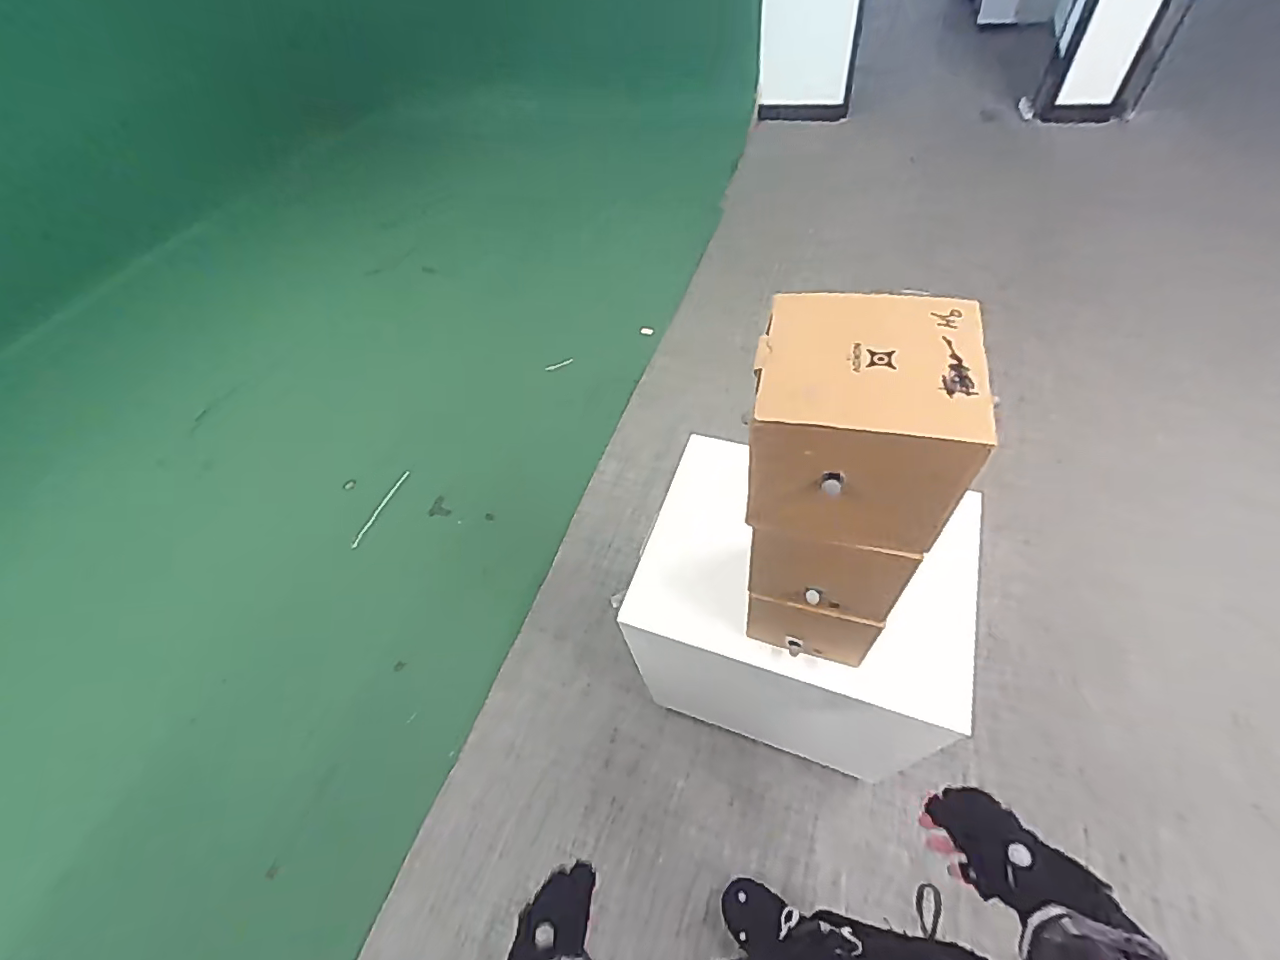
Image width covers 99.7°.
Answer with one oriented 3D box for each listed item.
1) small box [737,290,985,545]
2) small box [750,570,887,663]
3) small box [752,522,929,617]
[{"bbox_3d":[0.193,-0.055,0.505,0.179,0.176,0.168,7,57,16],"label":"small box"},{"bbox_3d":[0.252,0.135,0.766,0.168,0.176,0.179,10,59,18],"label":"small box"},{"bbox_3d":[0.227,0.036,0.638,0.168,0.176,0.179,8,55,16],"label":"small box"}]
